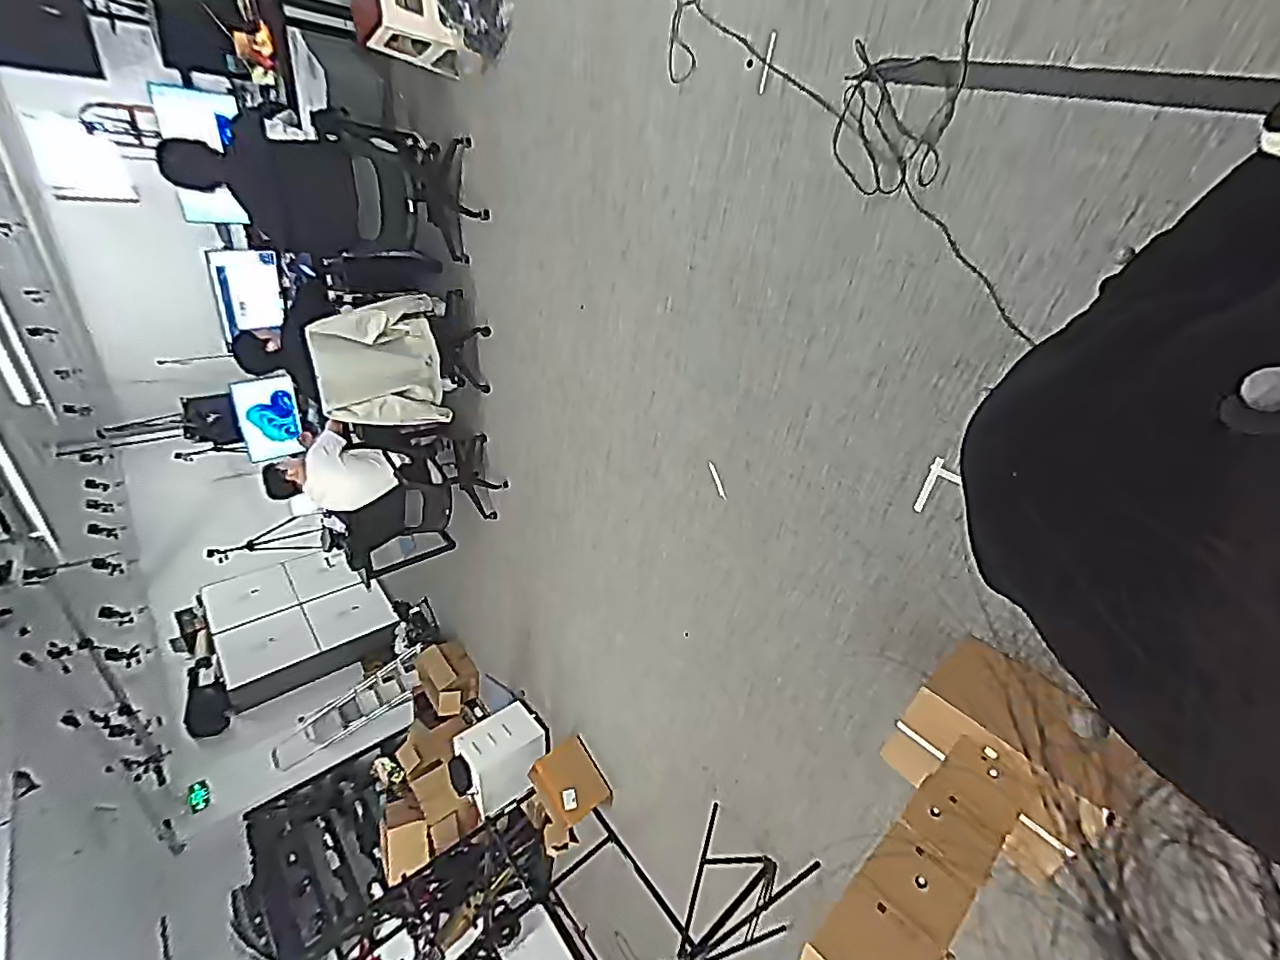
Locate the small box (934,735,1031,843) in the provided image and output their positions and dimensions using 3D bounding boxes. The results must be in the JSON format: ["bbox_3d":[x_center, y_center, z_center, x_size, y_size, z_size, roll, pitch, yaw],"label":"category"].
[{"bbox_3d":[0.764,0.739,1.252,0.168,0.176,0.179,34,129,37],"label":"small box"}]

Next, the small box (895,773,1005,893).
[{"bbox_3d":[0.641,0.775,1.153,0.168,0.176,0.179,34,130,39],"label":"small box"}]

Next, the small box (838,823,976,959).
[{"bbox_3d":[0.520,0.822,1.051,0.168,0.176,0.179,30,126,42],"label":"small box"}]
